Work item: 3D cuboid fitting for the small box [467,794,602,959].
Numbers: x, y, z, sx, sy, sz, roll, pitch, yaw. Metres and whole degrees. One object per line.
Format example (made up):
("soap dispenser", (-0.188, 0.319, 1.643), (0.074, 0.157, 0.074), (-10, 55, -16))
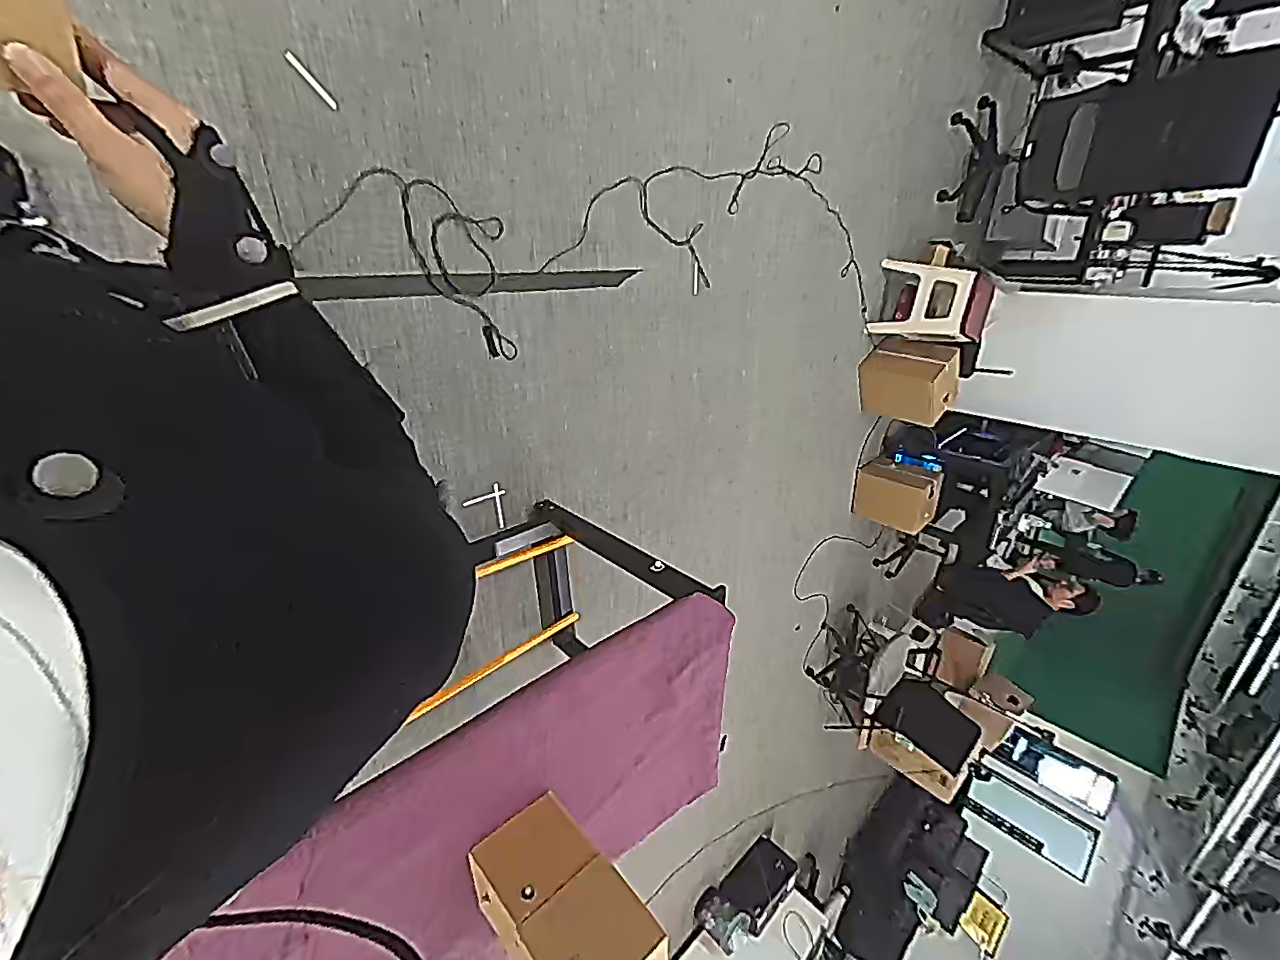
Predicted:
("small box", (-0.189, 0.725, 0.983), (0.179, 0.176, 0.168), (-20, 121, -38))
